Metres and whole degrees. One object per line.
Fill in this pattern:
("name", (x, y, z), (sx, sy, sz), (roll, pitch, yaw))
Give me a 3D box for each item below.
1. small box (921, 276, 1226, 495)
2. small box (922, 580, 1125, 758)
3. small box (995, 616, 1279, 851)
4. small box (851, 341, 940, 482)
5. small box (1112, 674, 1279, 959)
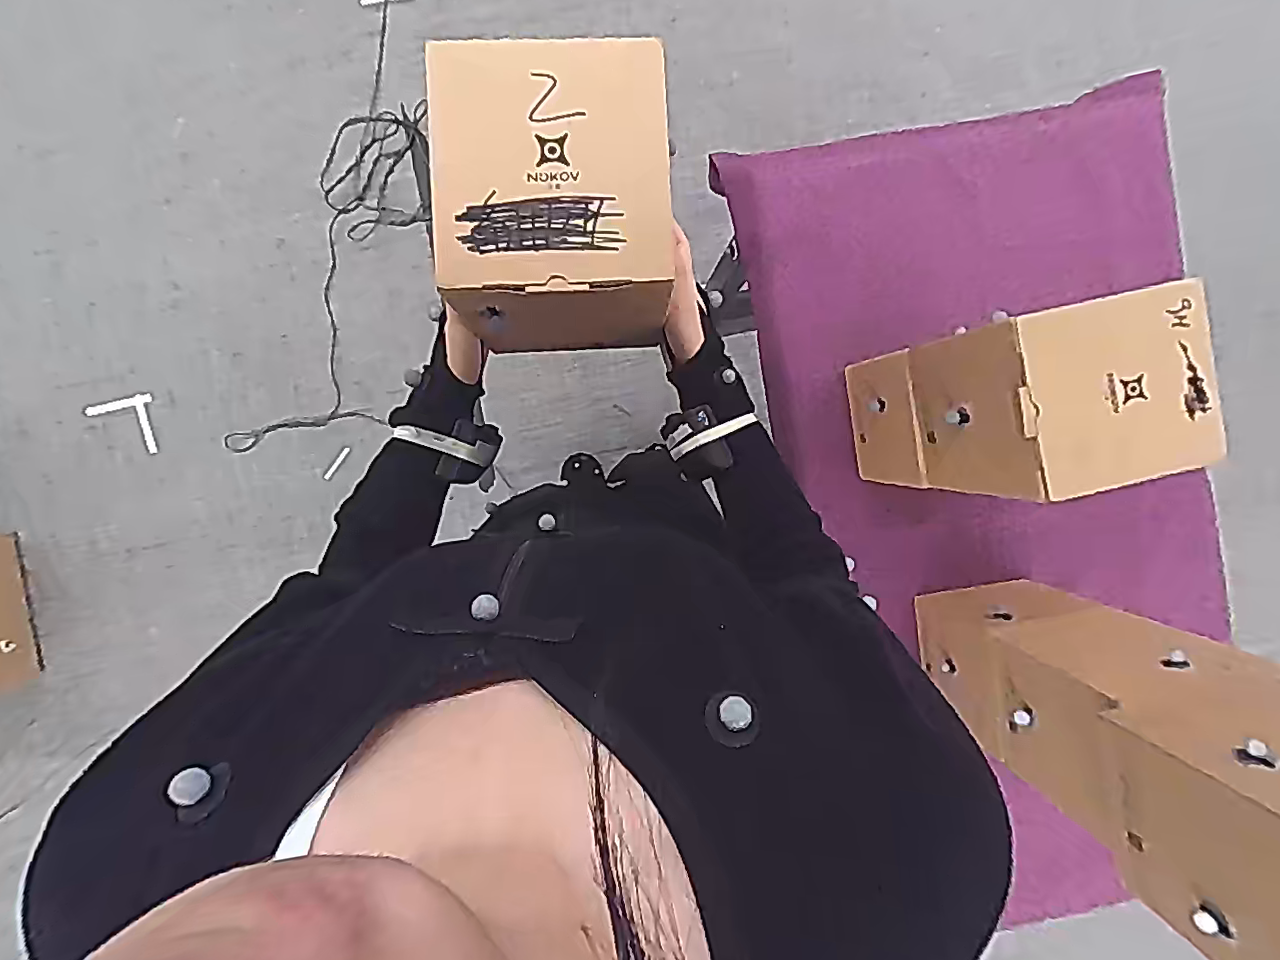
("small box", (0.414, -0.085, 0.550), (0.179, 0.176, 0.168), (-13, 95, -3))
("small box", (0.510, 0.244, 0.739), (0.179, 0.176, 0.168), (-8, 94, -3))
("small box", (0.523, 0.257, 0.575), (0.179, 0.176, 0.168), (-8, 94, -2))
("small box", (0.397, -0.092, 0.713), (0.179, 0.176, 0.168), (-10, 94, -3))
("small box", (0.510, 0.272, 0.413), (0.179, 0.176, 0.168), (-12, 95, -3))
